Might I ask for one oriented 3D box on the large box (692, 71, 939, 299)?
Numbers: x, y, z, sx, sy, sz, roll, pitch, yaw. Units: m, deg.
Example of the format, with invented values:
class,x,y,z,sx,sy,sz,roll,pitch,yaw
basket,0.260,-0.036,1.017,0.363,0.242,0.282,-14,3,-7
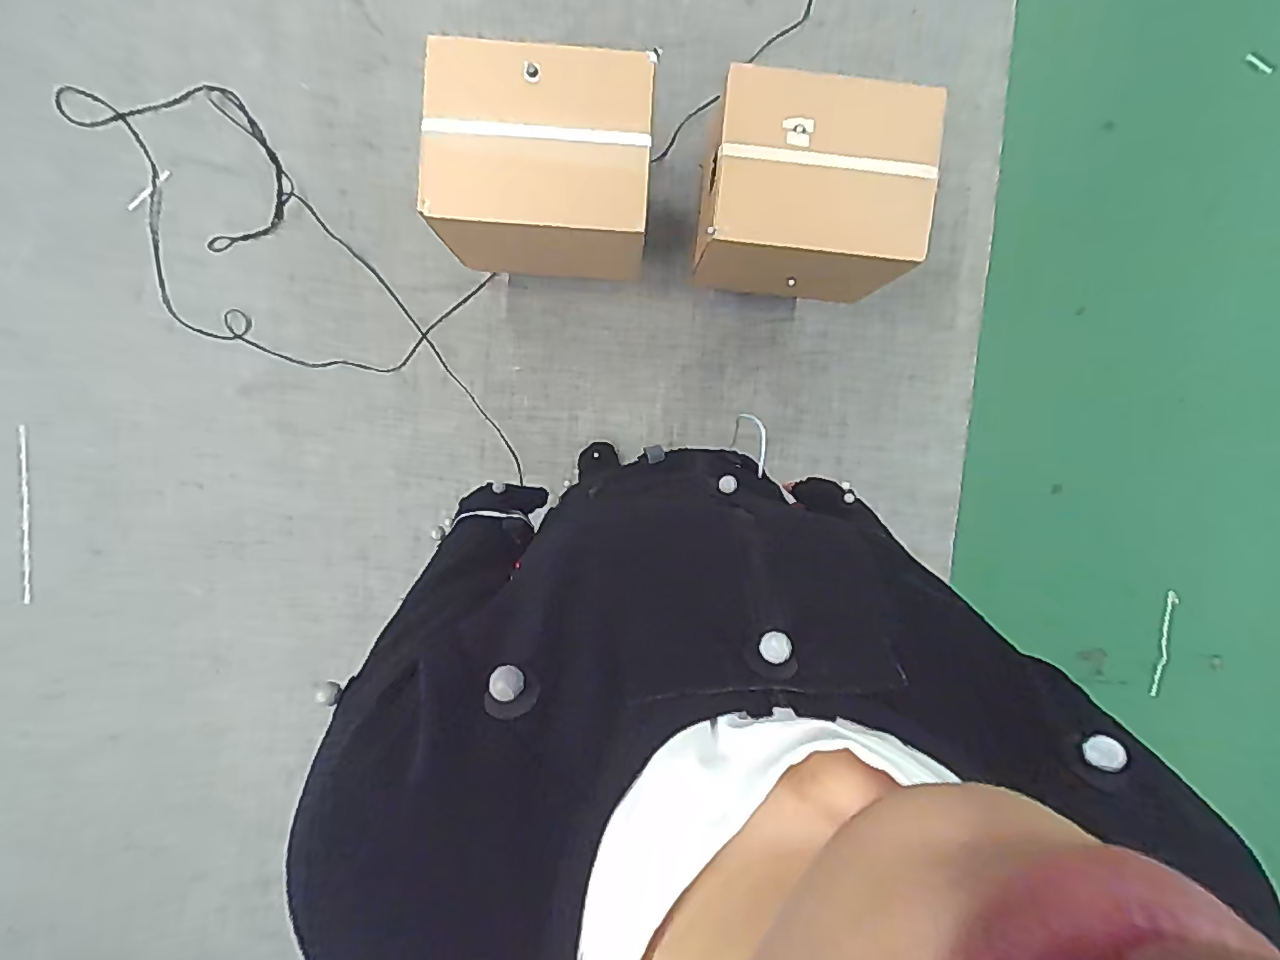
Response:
class,x,y,z,sx,sy,sz,roll,pitch,yaw
large box,0.341,-0.592,1.152,0.408,0.320,0.320,6,94,-2
